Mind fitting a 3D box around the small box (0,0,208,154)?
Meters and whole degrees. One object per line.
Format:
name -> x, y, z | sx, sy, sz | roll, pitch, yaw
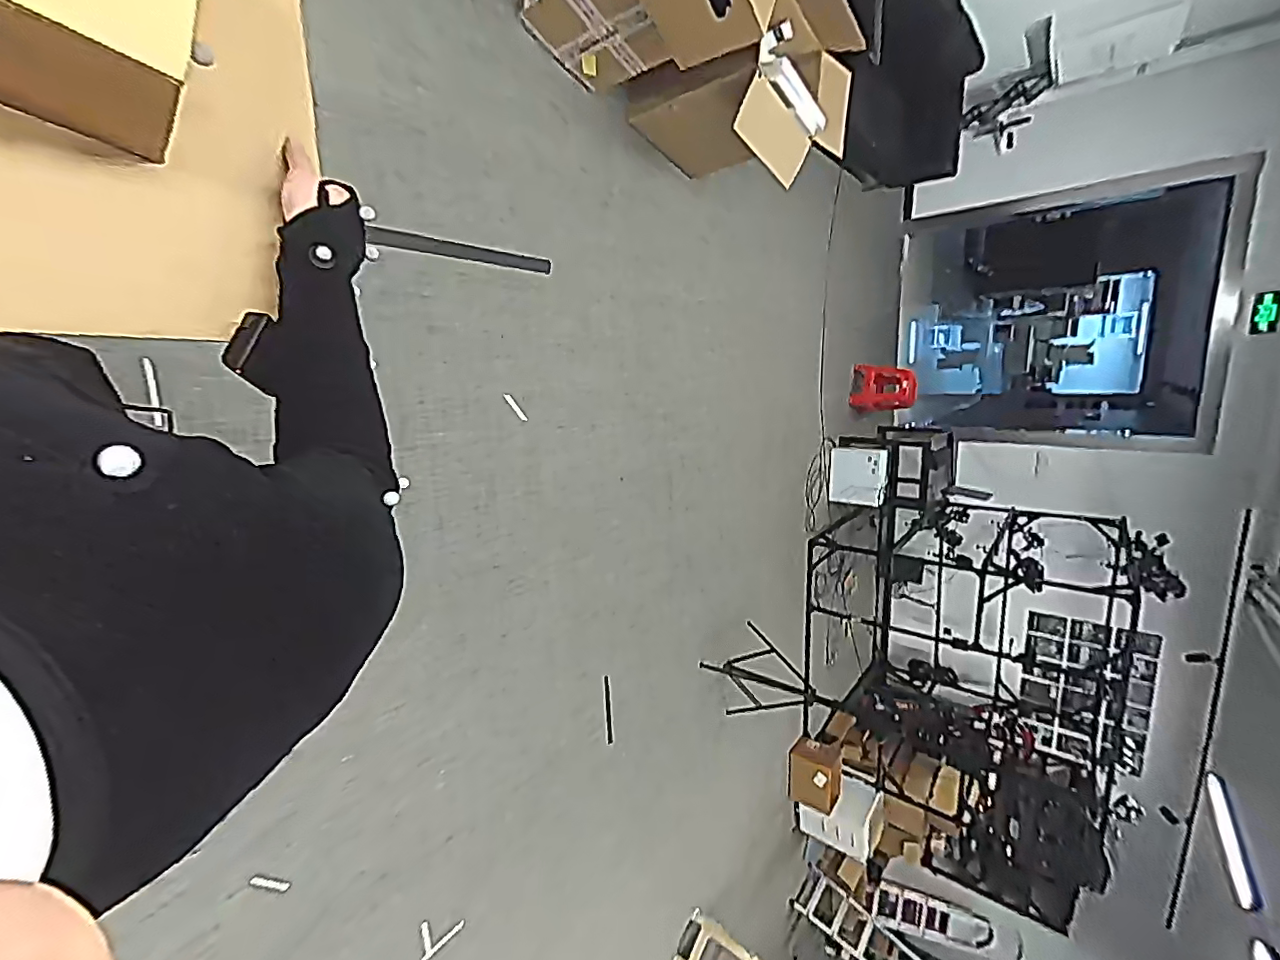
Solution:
small box -> -0.407, -0.352, 0.360 | 0.179, 0.176, 0.168 | 8, 90, -44
